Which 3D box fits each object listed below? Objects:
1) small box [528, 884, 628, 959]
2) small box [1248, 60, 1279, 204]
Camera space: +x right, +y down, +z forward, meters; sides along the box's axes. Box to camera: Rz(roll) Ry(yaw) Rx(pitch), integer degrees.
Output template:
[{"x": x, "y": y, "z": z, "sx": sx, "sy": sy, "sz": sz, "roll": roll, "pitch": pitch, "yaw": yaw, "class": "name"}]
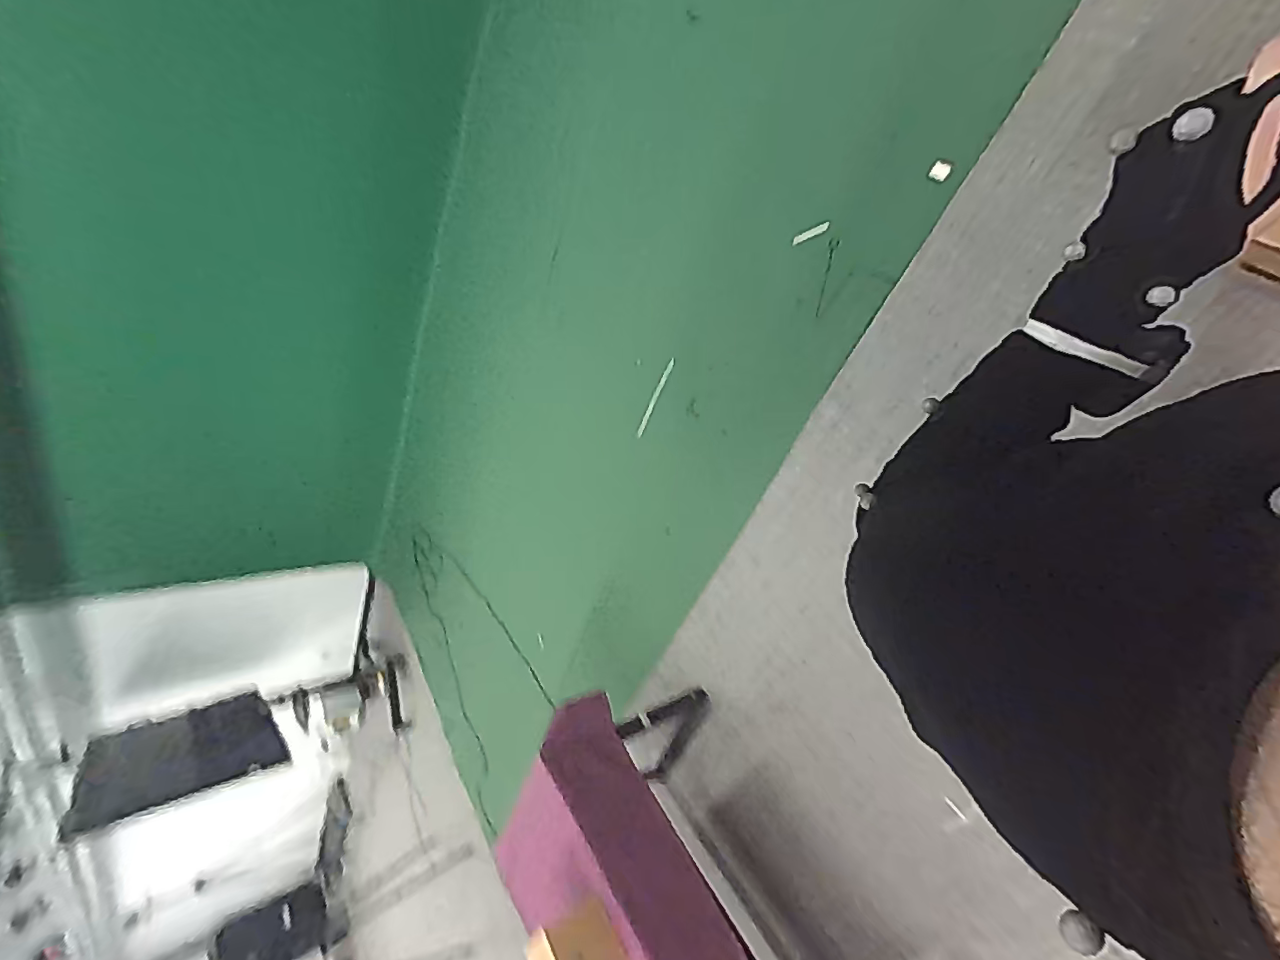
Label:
[{"x": -0.157, "y": 1.202, "z": 1.393, "sx": 0.179, "sy": 0.176, "sz": 0.168, "roll": 50, "pitch": 127, "yaw": 34, "class": "small box"}, {"x": 0.453, "y": -0.256, "z": 0.265, "sx": 0.179, "sy": 0.176, "sz": 0.168, "roll": 15, "pitch": 103, "yaw": 44, "class": "small box"}]
